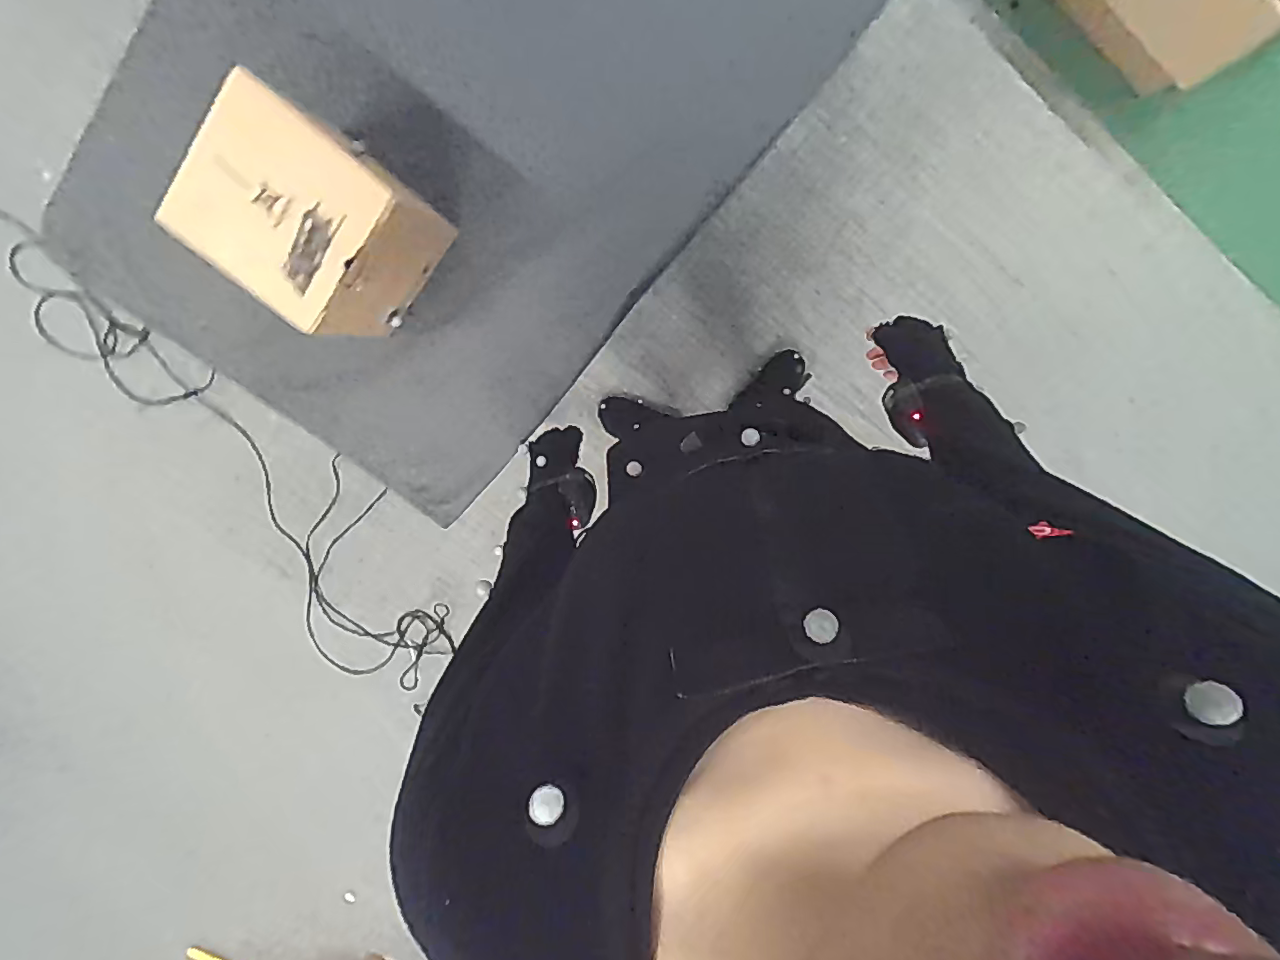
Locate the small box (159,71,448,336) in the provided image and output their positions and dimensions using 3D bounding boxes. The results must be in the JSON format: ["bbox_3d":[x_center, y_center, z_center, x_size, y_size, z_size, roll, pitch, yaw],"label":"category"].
[{"bbox_3d":[-0.345,-0.279,0.592,0.179,0.176,0.168,38,102,-7],"label":"small box"}]
